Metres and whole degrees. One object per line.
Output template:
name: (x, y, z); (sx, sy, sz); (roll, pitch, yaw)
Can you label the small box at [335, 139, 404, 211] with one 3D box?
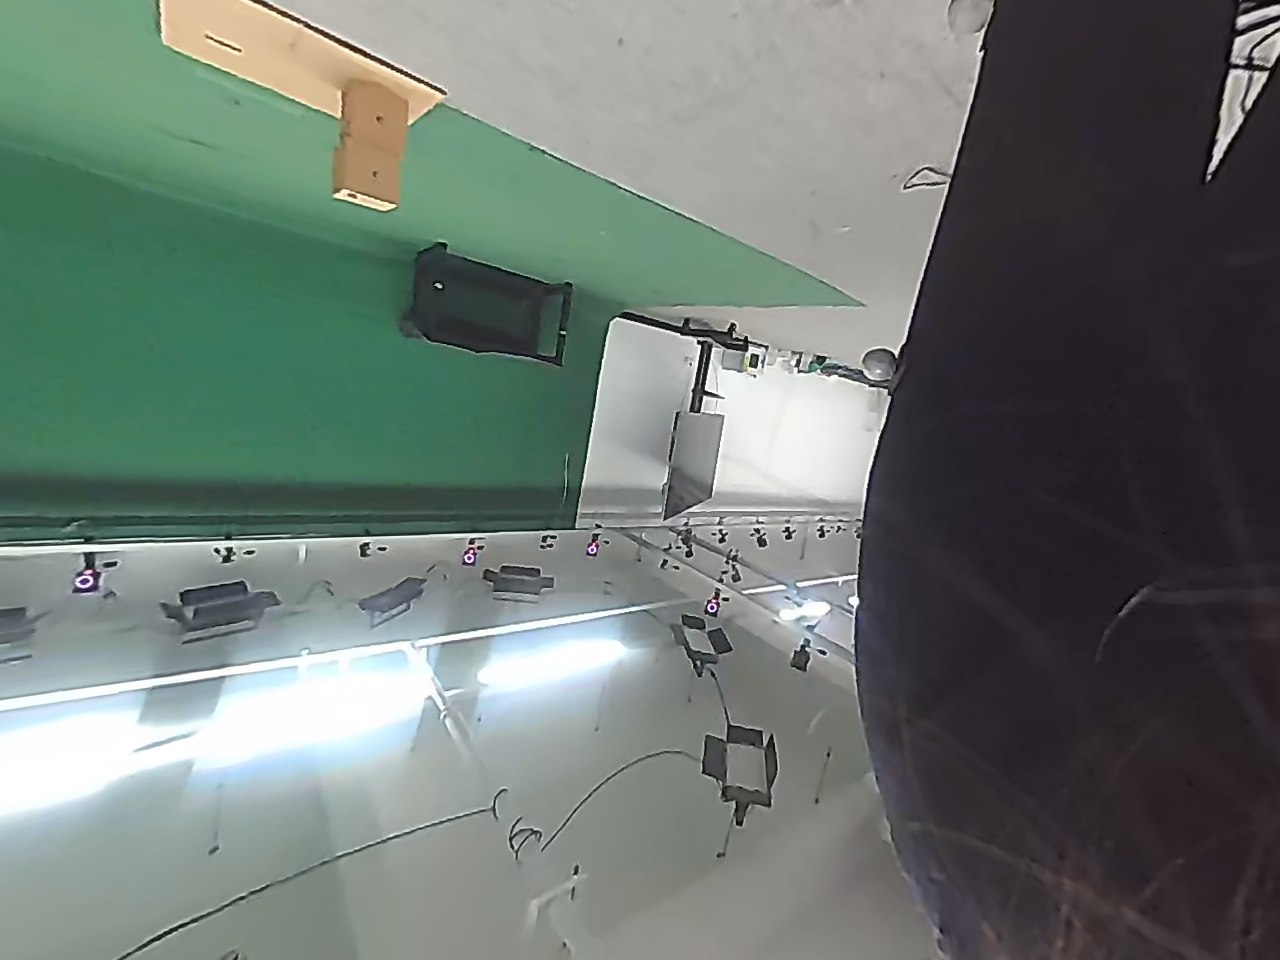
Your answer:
small box: (-0.939, -1.057, 1.873); (0.179, 0.176, 0.168); (-2, -165, -43)
